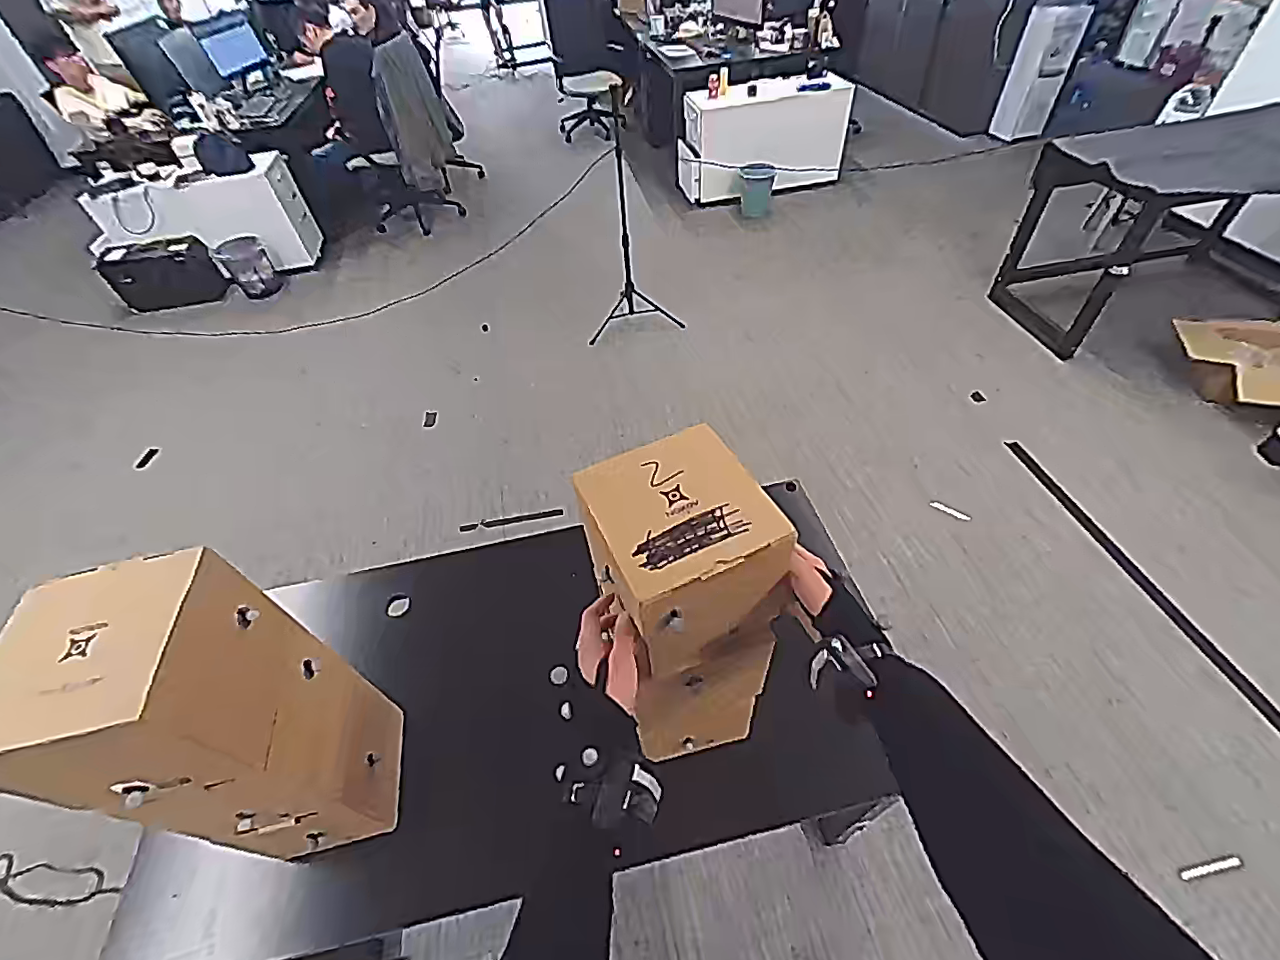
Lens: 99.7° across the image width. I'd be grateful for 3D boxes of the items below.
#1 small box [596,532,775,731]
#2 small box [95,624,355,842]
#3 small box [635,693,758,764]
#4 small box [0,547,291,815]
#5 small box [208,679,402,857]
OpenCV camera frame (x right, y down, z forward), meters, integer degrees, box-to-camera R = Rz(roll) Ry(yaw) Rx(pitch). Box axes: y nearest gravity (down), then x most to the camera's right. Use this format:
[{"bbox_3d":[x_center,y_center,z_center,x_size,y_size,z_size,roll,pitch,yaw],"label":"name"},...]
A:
[{"bbox_3d":[0.054,0.199,0.699,0.179,0.176,0.168,-15,49,-8],"label":"small box"},{"bbox_3d":[-0.469,0.305,0.652,0.168,0.176,0.179,-13,49,-5],"label":"small box"},{"bbox_3d":[0.065,0.303,0.825,0.168,0.176,0.179,-13,49,-6],"label":"small box"},{"bbox_3d":[-0.479,0.197,0.530,0.168,0.176,0.179,-13,49,-5],"label":"small box"},{"bbox_3d":[-0.457,0.416,0.773,0.168,0.176,0.179,-13,49,-6],"label":"small box"}]
